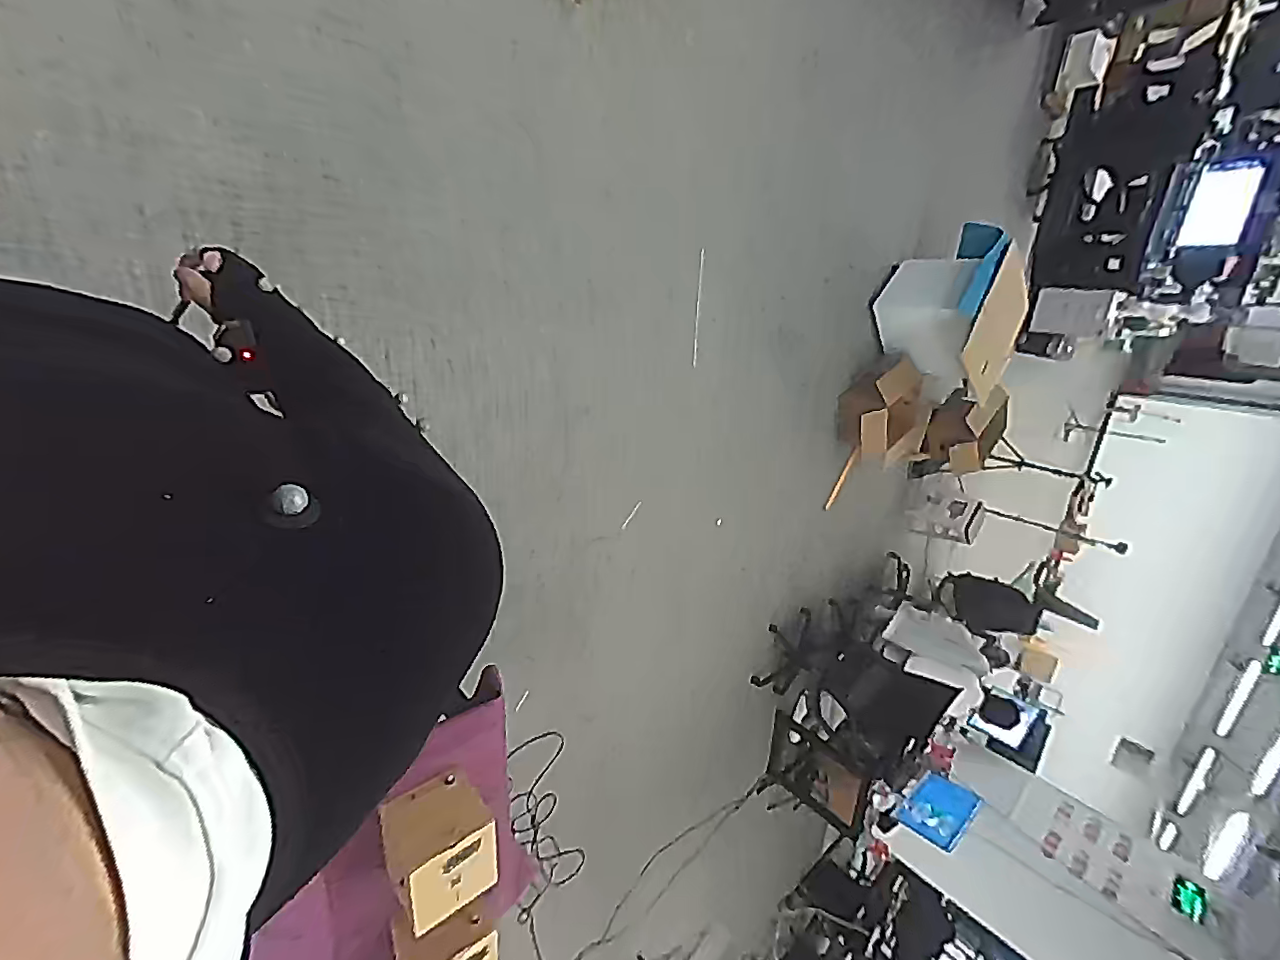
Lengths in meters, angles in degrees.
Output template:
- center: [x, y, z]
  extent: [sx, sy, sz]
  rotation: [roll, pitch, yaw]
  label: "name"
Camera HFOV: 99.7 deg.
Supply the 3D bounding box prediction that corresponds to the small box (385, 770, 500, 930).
- center: [-0.395, 0.719, 1.081]
  extent: [0.168, 0.176, 0.179]
  rotation: [-14, 116, -39]
  label: "small box"
